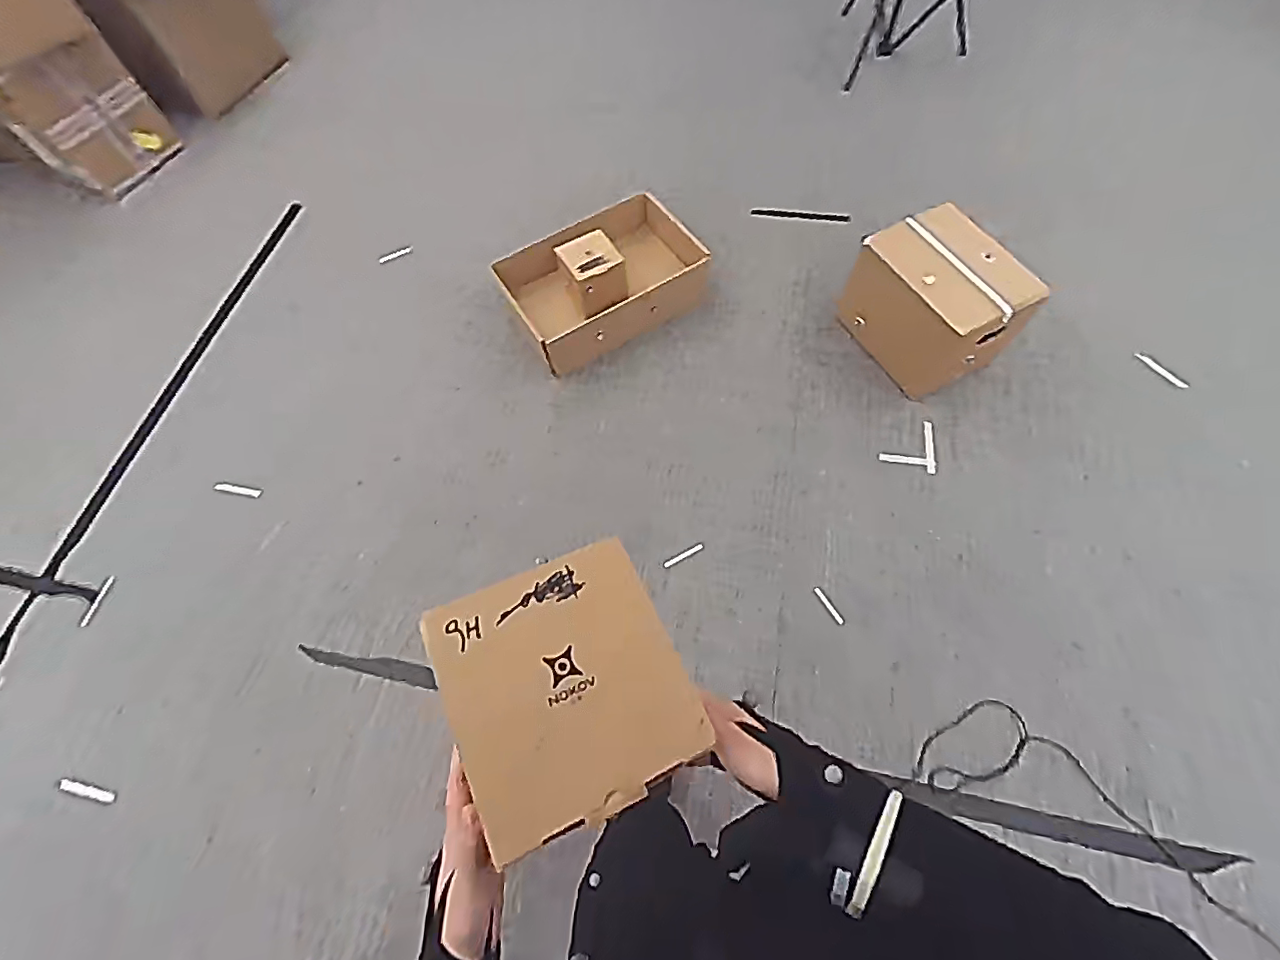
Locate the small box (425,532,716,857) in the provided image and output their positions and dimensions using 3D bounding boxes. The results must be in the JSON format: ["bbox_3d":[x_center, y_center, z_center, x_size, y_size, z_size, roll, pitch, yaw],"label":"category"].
[{"bbox_3d":[-0.062,0.174,0.461,0.168,0.176,0.179,-20,68,-19],"label":"small box"}]
